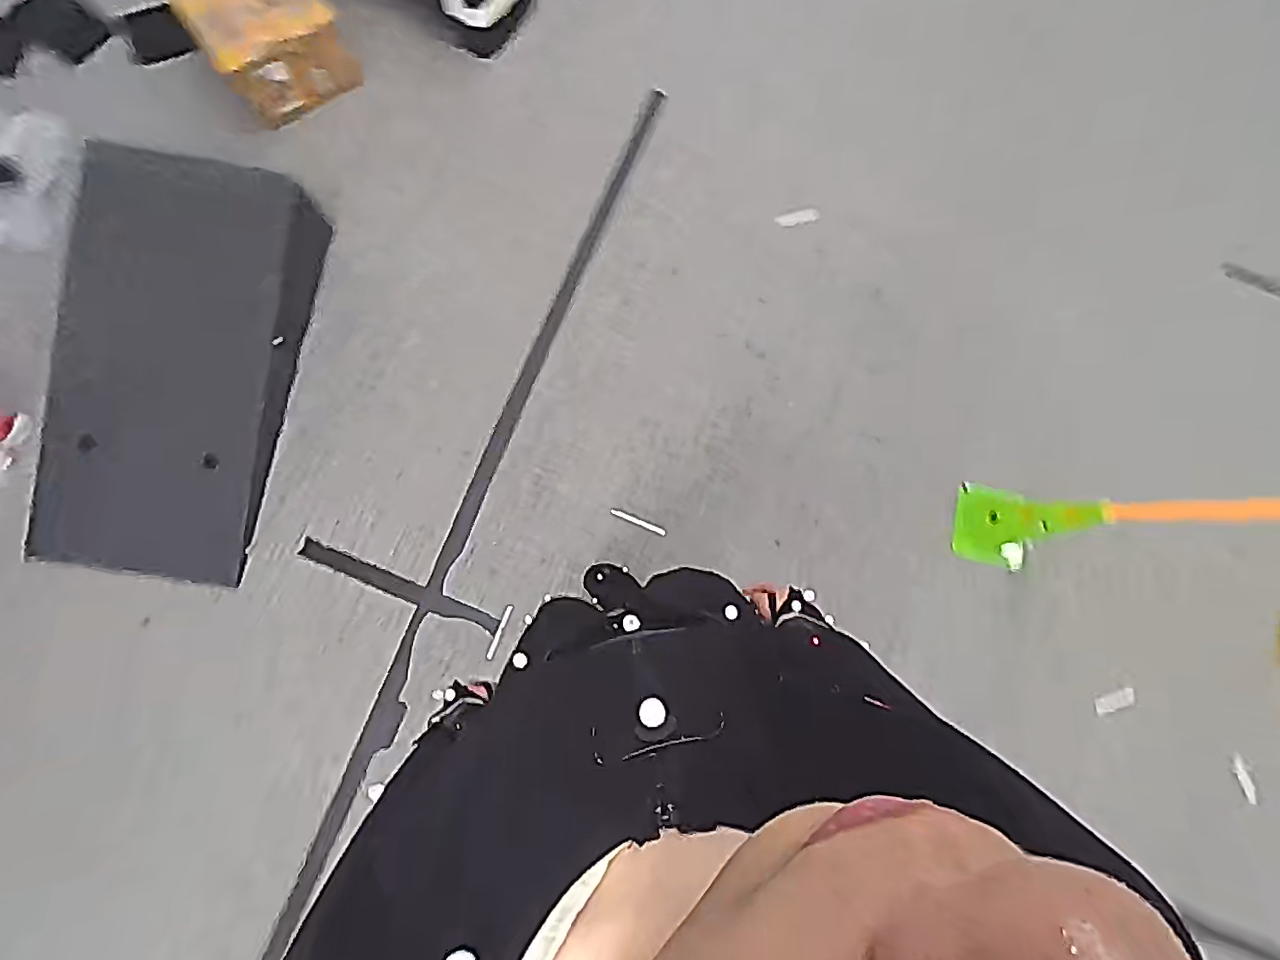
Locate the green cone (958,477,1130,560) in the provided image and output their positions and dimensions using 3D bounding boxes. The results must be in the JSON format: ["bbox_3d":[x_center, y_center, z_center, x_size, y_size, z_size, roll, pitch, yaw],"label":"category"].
[{"bbox_3d":[0.978,0.080,1.299,0.202,0.368,0.200,12,81,-4],"label":"green cone"}]
